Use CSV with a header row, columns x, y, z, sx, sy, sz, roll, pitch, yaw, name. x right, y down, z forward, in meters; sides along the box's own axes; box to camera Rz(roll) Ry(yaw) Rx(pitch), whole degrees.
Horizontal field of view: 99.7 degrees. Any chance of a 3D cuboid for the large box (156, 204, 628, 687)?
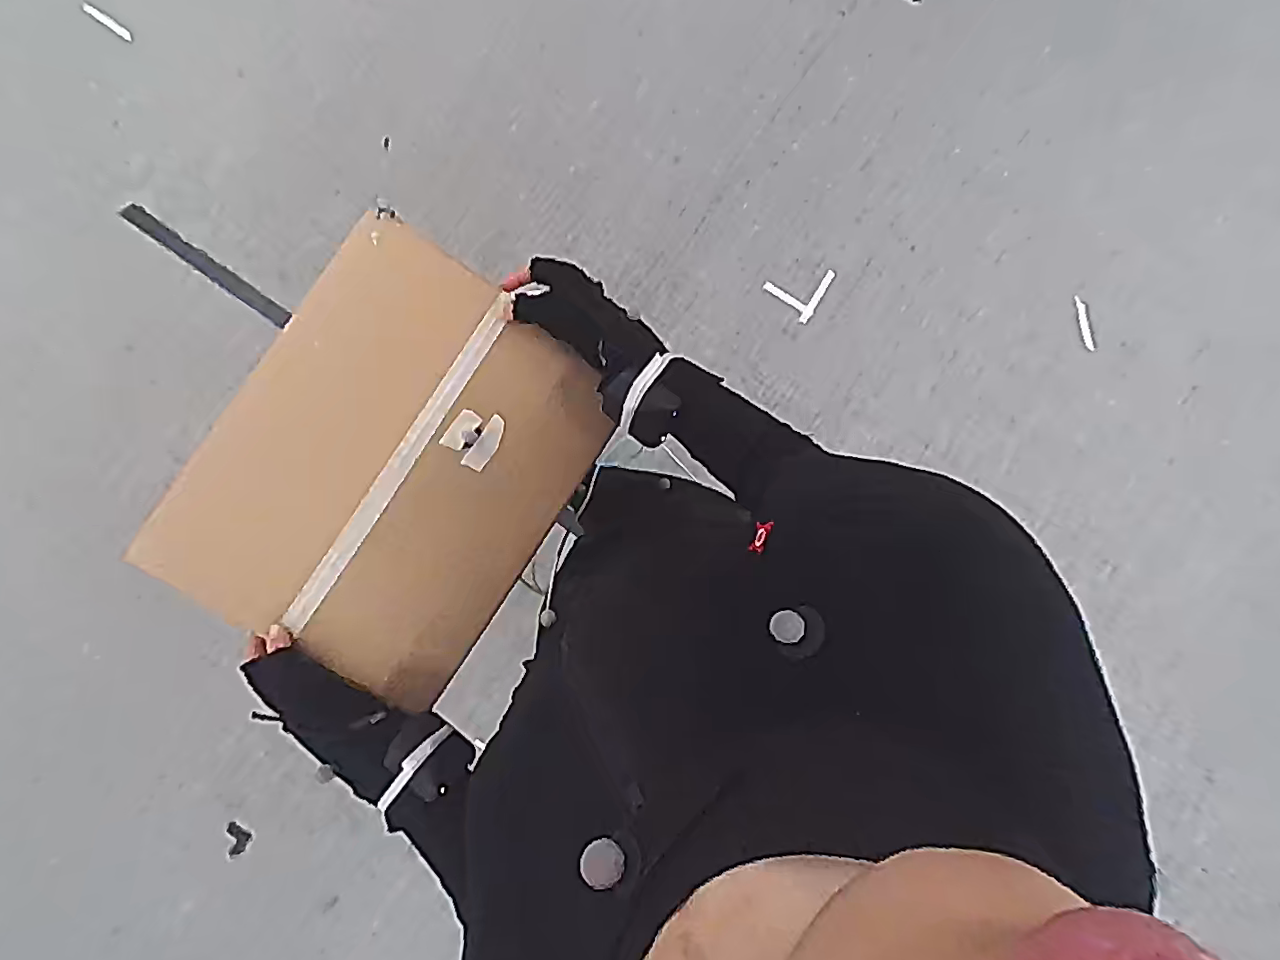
x,y,z,sx,sy,sz,roll,pitch,yaw,name
-0.260,-0.033,0.696,0.320,0.320,0.408,34,87,-8,large box
